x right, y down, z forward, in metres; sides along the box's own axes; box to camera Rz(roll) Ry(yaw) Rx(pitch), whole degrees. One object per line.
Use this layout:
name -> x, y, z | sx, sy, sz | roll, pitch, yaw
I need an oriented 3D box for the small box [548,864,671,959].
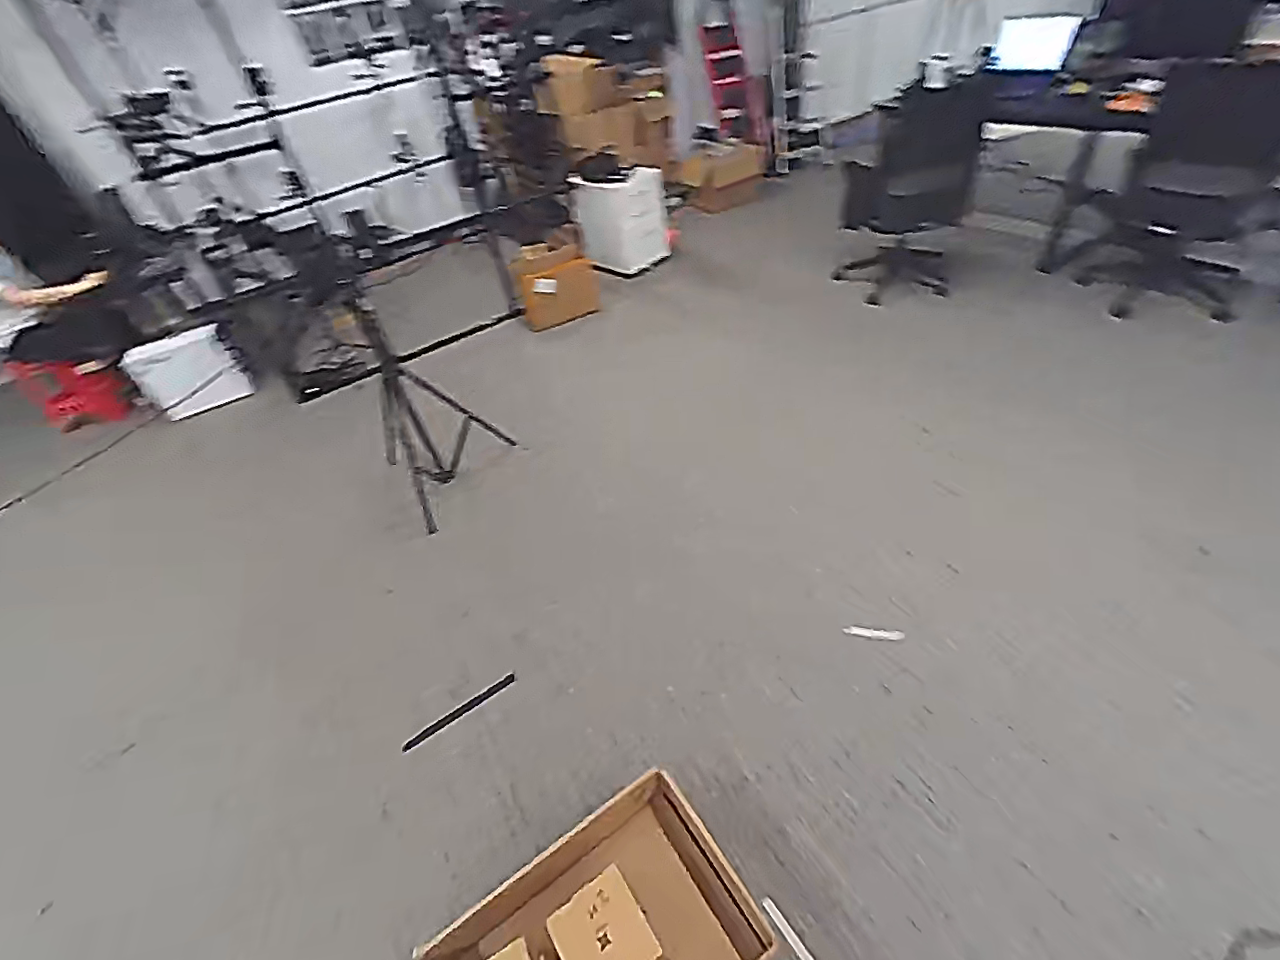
small box -> -0.055, 0.919, 1.075 | 0.168, 0.176, 0.179 | -31, 45, -20
